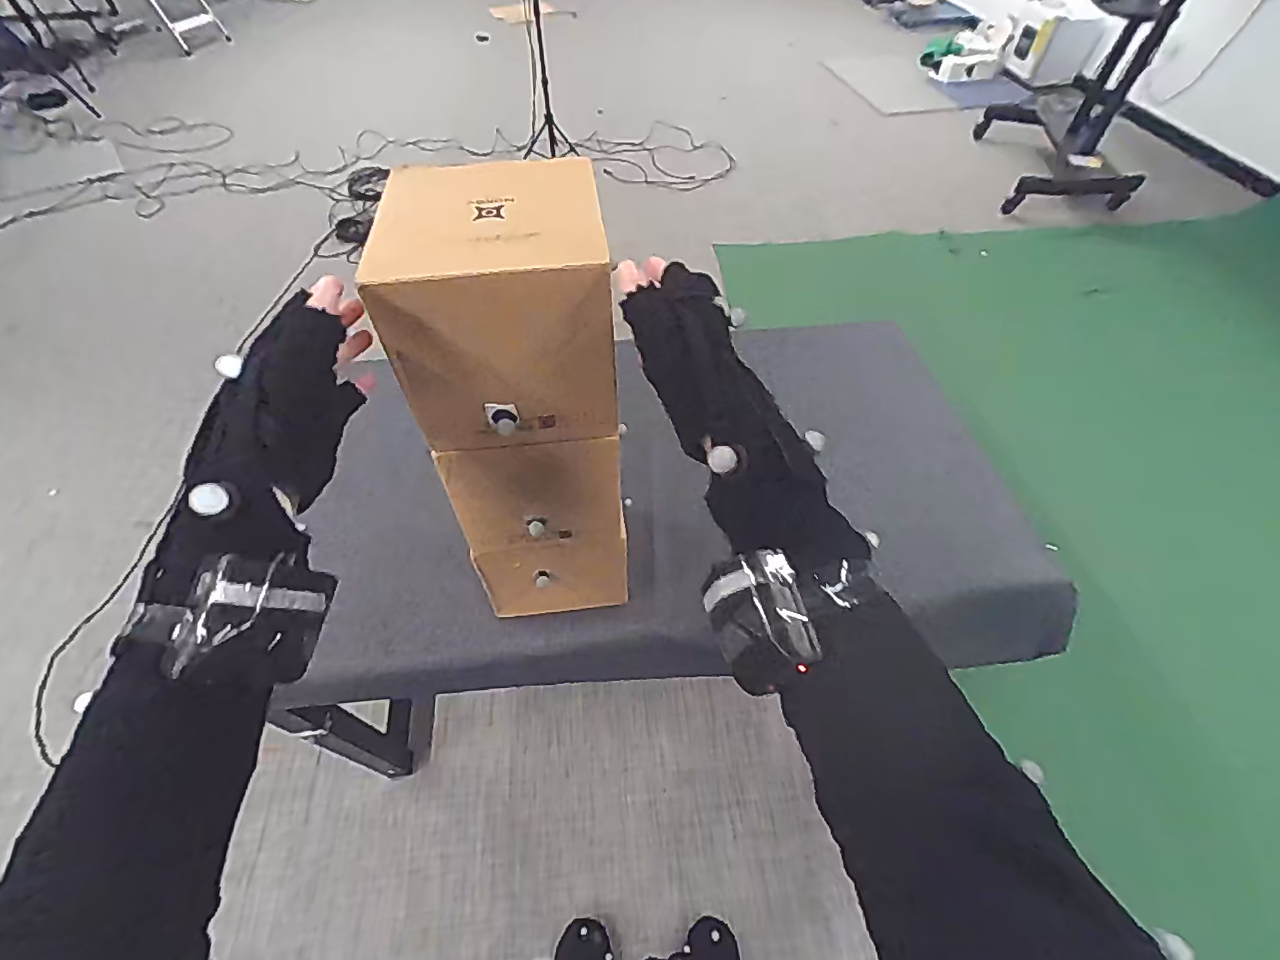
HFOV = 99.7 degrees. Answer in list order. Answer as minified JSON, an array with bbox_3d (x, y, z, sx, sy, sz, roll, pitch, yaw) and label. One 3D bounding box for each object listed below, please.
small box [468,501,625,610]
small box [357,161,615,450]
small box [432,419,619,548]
[{"bbox_3d":[-0.115,0.060,0.718,0.179,0.176,0.168,-5,52,-5],"label":"small box"},{"bbox_3d":[-0.111,-0.148,0.465,0.168,0.176,0.179,-6,52,-4],"label":"small box"},{"bbox_3d":[-0.112,-0.046,0.592,0.168,0.176,0.179,-5,52,-5],"label":"small box"}]
